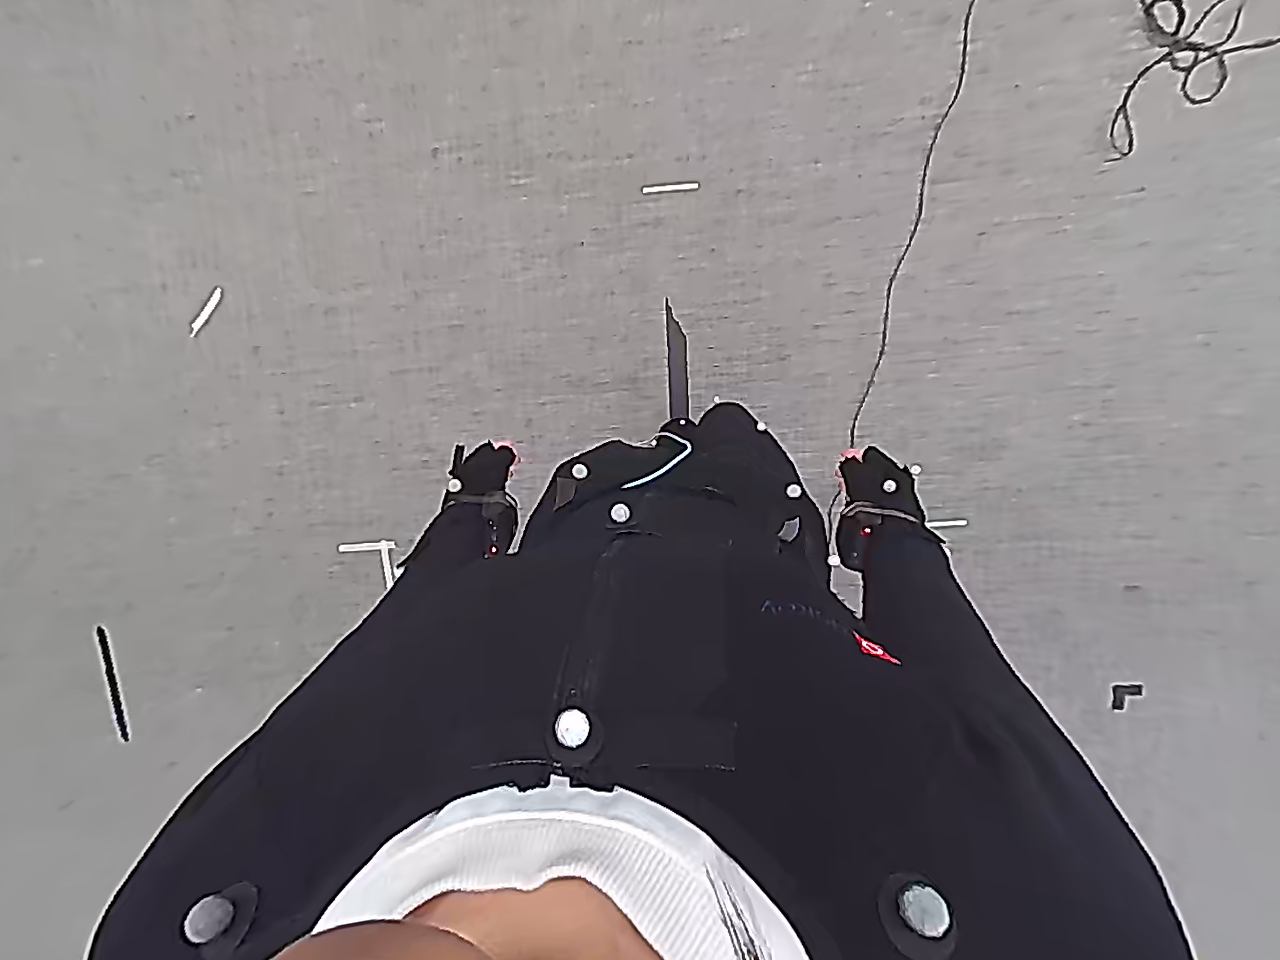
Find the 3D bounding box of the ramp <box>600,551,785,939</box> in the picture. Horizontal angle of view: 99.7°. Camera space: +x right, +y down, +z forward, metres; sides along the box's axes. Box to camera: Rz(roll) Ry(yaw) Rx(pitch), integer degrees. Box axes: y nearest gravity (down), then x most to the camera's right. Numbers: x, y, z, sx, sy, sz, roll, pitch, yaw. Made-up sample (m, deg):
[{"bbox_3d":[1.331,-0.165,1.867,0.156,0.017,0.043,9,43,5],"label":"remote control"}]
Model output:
[{"bbox_3d":[0.135,0.694,1.450,0.509,0.206,0.991,-1,98,7],"label":"ramp"}]
